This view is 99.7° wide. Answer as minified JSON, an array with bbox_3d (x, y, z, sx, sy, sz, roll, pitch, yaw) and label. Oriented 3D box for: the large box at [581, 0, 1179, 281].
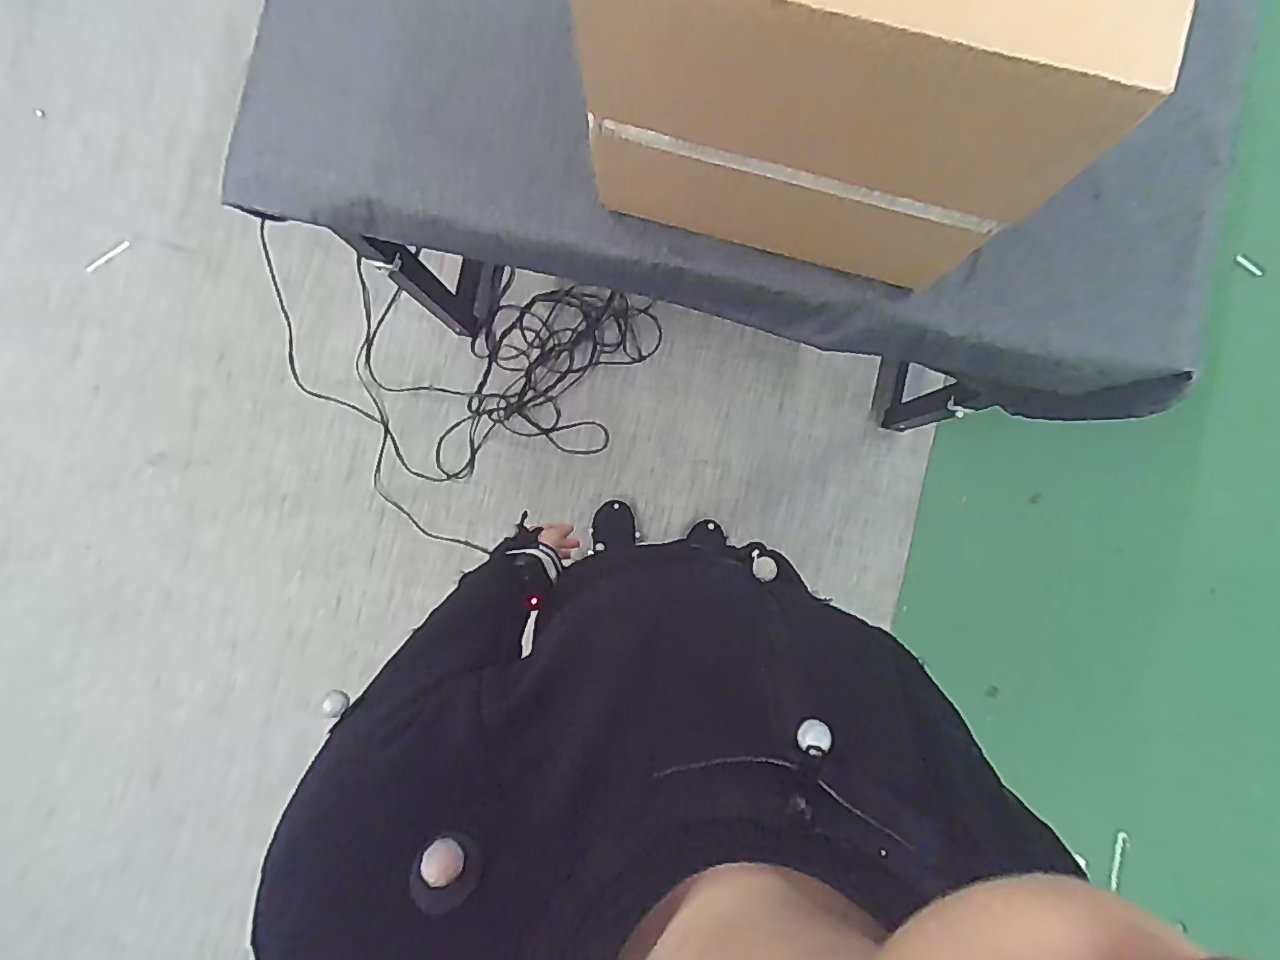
[{"bbox_3d":[0.186,-0.433,0.511,0.408,0.320,0.320,14,87,1],"label":"large box"}]
